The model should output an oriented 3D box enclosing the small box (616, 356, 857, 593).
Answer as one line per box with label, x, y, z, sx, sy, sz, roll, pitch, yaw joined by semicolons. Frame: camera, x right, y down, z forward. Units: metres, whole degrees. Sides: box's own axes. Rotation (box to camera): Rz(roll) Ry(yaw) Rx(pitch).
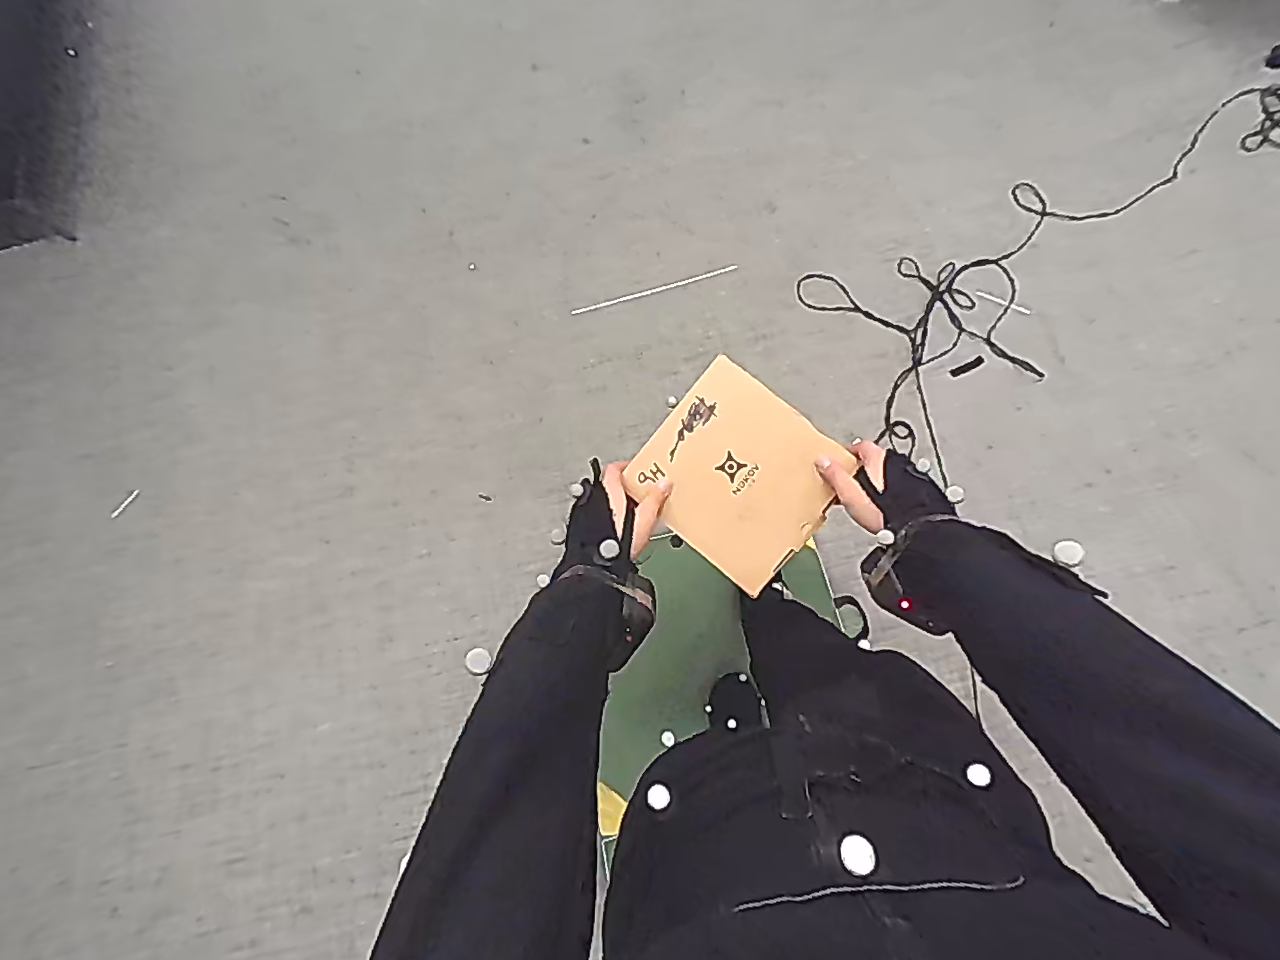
small box;0.097;-0.004;0.601;0.179;0.176;0.168;40;89;5
